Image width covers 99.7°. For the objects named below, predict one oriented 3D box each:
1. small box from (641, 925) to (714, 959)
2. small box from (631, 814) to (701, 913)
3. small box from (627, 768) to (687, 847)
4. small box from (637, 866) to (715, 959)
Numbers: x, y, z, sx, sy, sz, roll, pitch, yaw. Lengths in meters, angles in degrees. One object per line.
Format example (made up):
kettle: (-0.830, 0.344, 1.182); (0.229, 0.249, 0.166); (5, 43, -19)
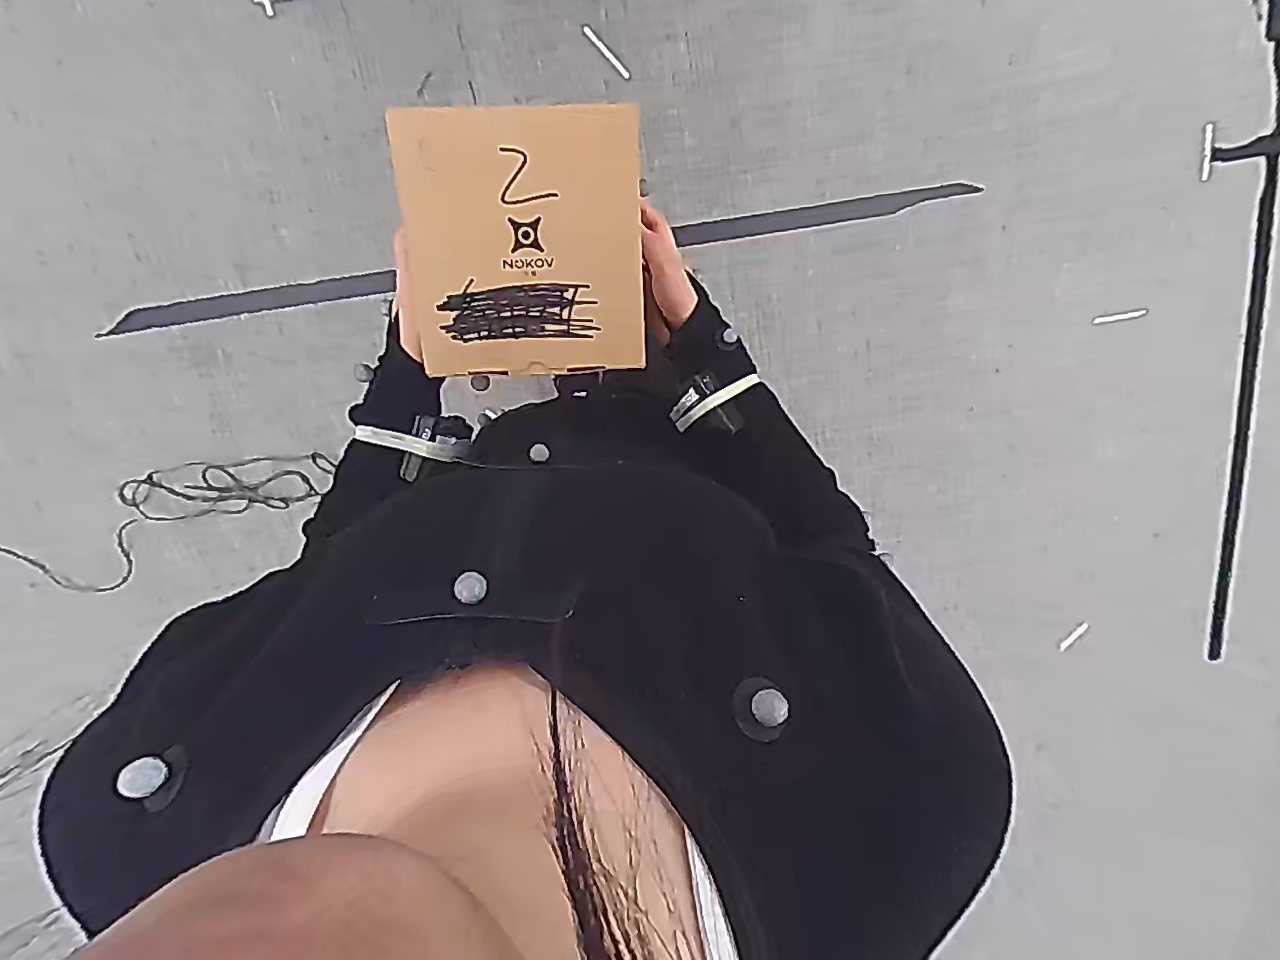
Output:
small box: (0.095, 1.178, 1.239); (0.168, 0.176, 0.179); (-4, 103, -7)
small box: (0.070, 1.094, 1.553); (0.179, 0.176, 0.168); (-1, 103, -7)
small box: (0.050, 1.047, 1.709); (0.179, 0.176, 0.168); (-4, 104, -6)
small box: (0.090, 1.141, 1.399); (0.179, 0.176, 0.168); (-4, 103, -5)
